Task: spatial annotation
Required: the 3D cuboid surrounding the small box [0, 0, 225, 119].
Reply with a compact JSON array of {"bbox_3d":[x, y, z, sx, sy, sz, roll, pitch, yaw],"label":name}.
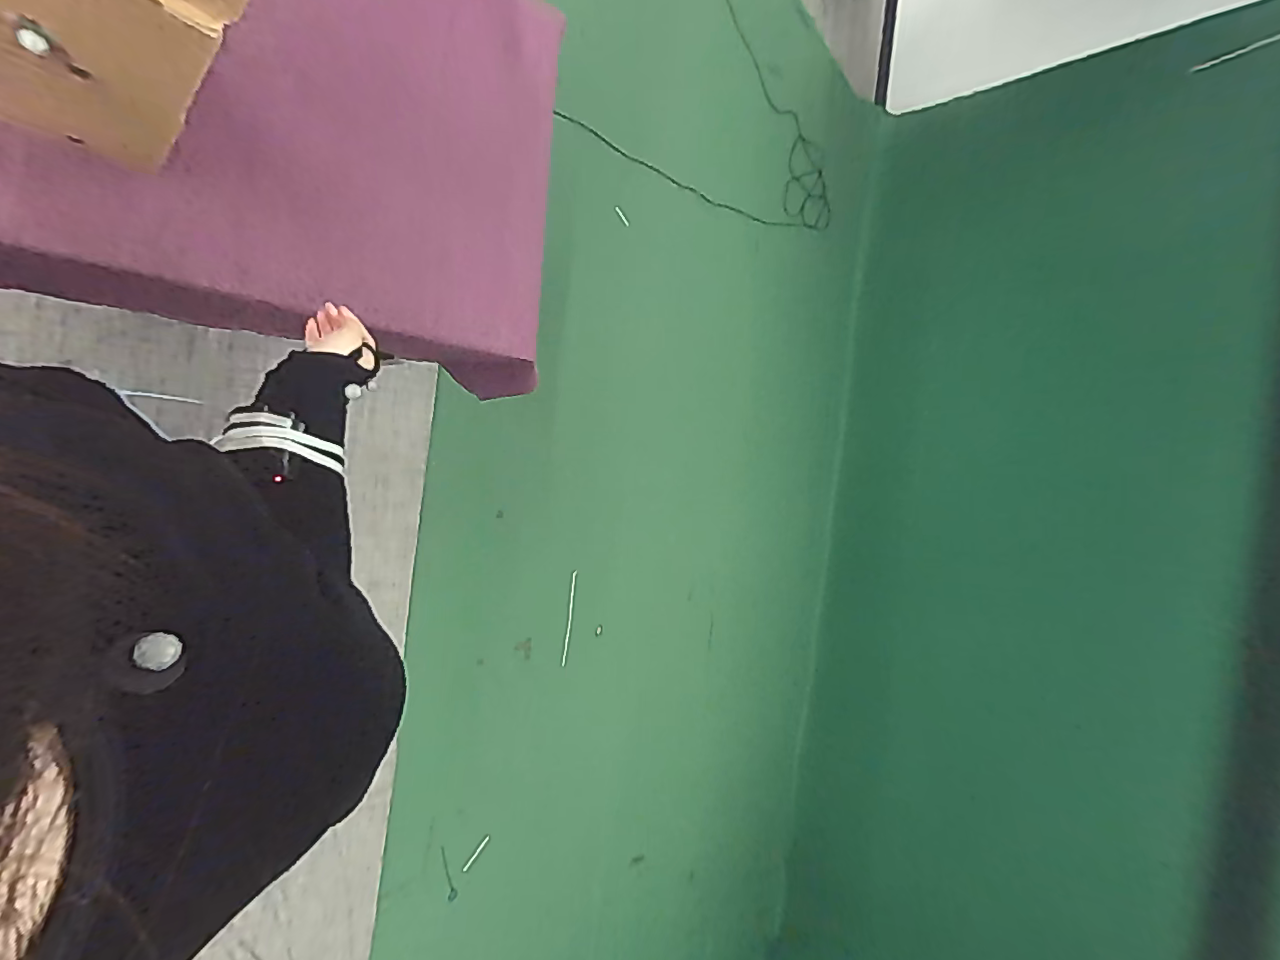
[{"bbox_3d":[-0.388,-0.394,0.361,0.168,0.176,0.179,9,89,-49],"label":"small box"}]
